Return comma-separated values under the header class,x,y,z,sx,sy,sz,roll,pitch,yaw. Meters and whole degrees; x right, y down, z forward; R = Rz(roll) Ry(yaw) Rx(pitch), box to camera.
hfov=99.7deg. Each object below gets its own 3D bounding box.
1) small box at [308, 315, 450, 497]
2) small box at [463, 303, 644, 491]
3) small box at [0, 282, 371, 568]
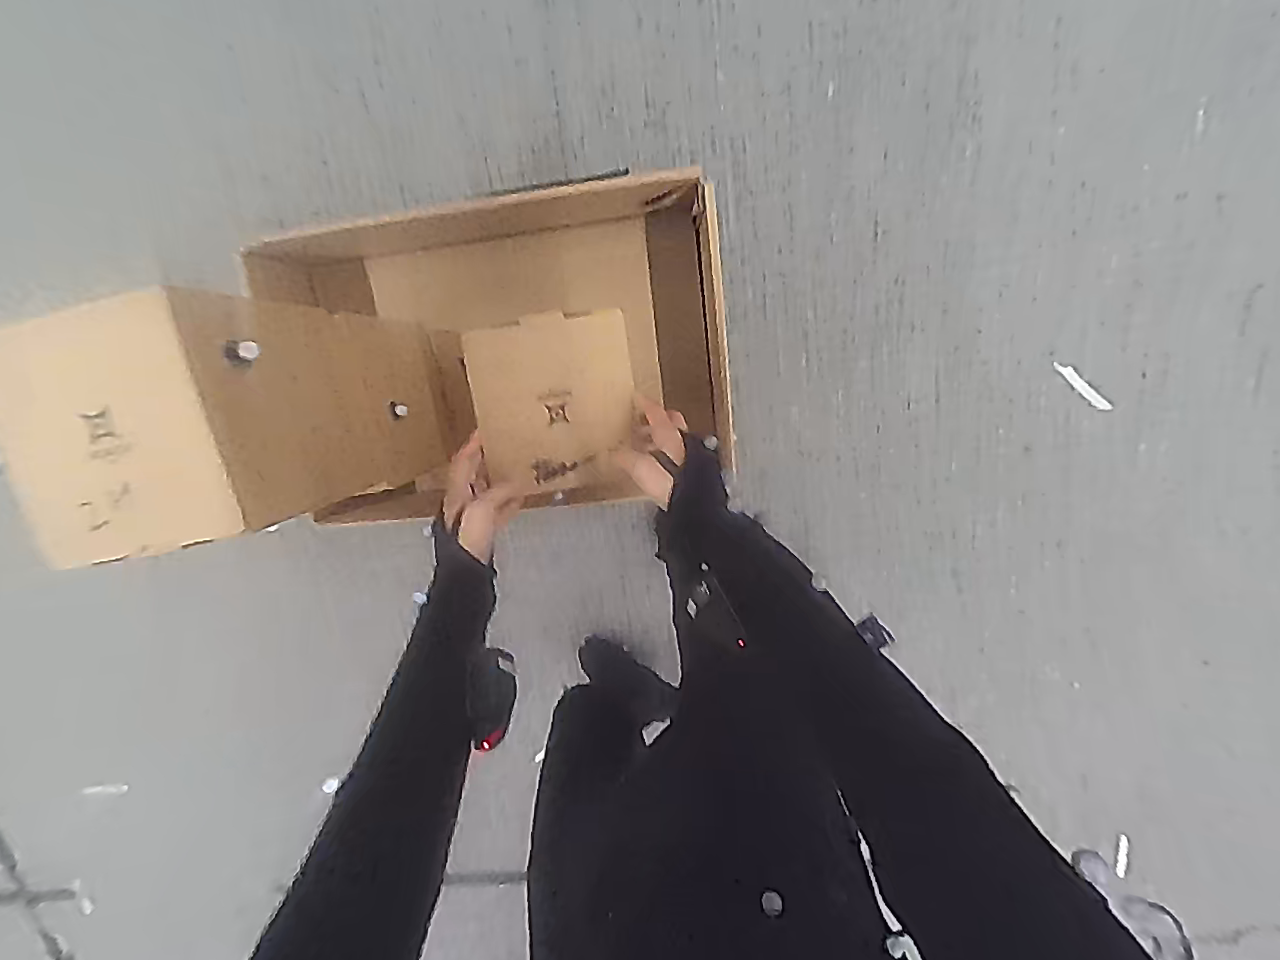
class,x,y,z,sx,sy,sz,roll,pitch,yaw
small box,-0.339,-0.081,0.612,0.168,0.176,0.179,-9,102,6
small box,-0.092,-0.093,0.634,0.168,0.176,0.179,-9,98,-2
small box,-0.364,-0.048,0.452,0.168,0.176,0.179,-11,102,7
